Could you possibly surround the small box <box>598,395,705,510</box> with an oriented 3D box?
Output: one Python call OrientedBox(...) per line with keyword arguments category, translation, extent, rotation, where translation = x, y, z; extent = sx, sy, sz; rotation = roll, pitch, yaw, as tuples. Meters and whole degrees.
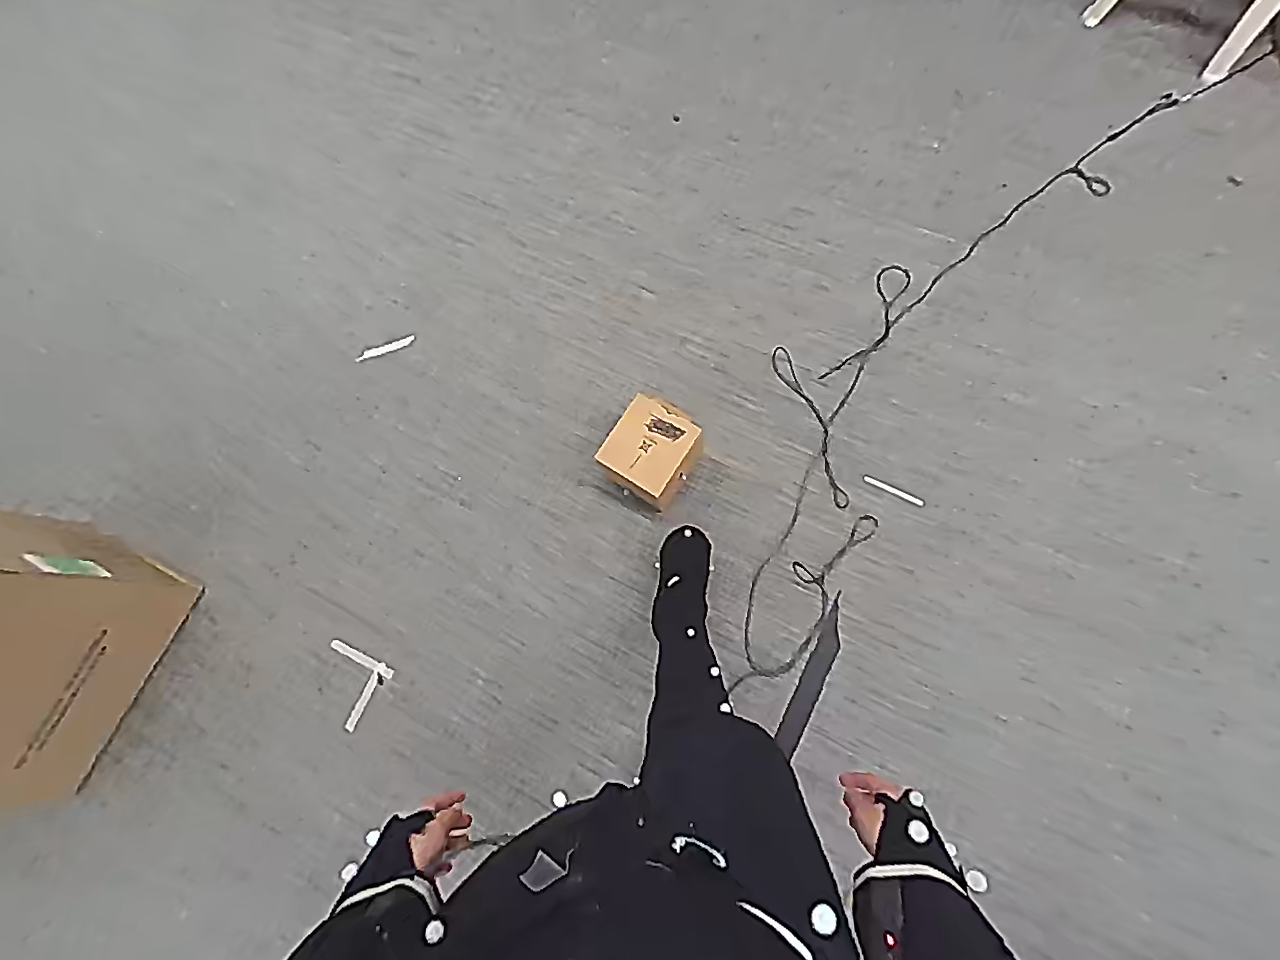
OrientedBox(category="small box", translation=(0.031, -0.055, 1.214), extent=(0.168, 0.176, 0.179), rotation=(32, 82, 13))
